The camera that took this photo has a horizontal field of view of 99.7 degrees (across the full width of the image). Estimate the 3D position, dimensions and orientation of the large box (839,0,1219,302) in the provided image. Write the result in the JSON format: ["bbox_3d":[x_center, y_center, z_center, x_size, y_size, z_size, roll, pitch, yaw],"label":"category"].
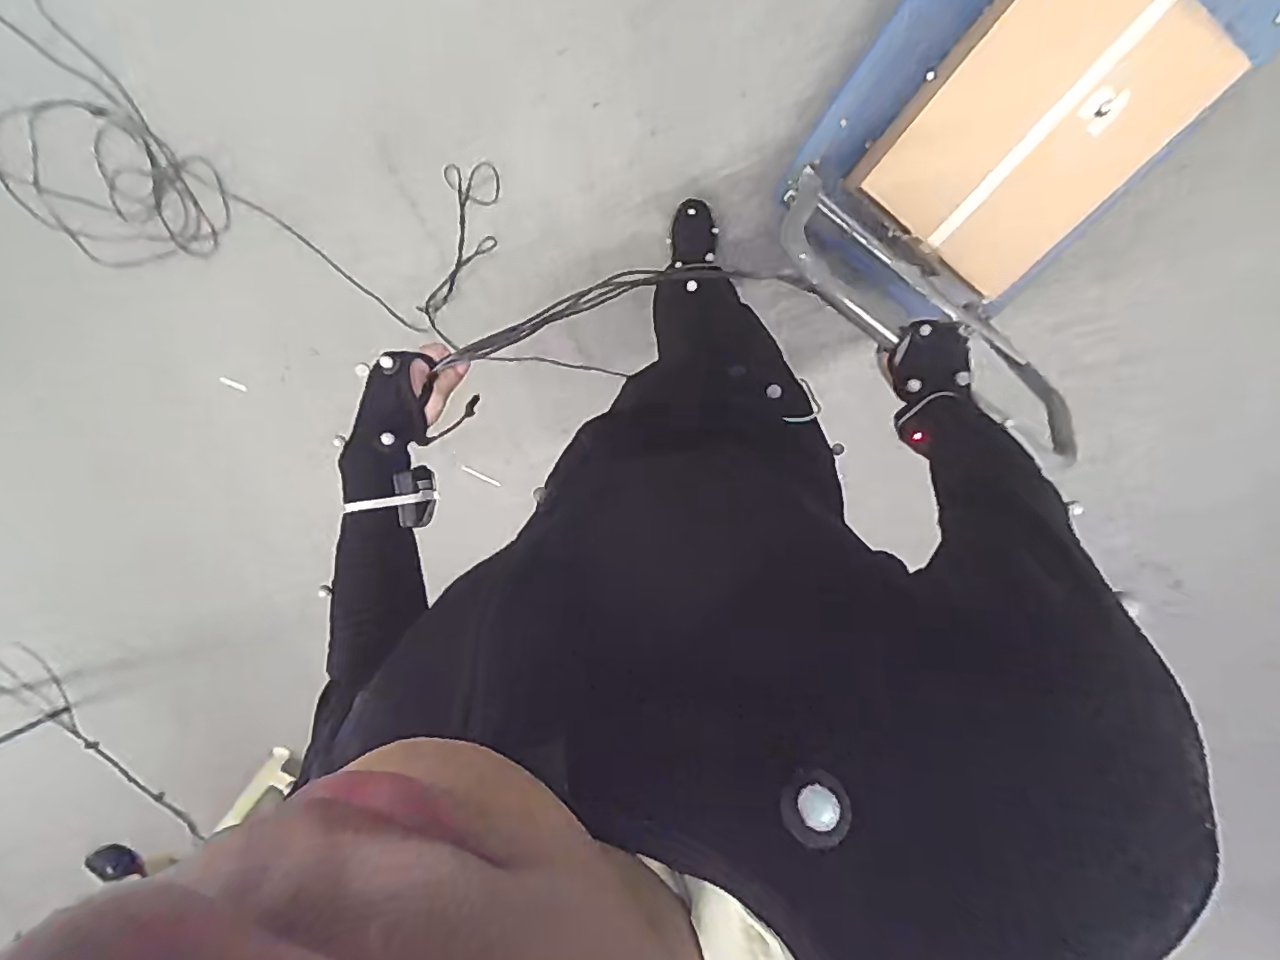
[{"bbox_3d":[0.629,-0.599,0.976,0.320,0.320,0.408,38,119,-8],"label":"large box"}]
